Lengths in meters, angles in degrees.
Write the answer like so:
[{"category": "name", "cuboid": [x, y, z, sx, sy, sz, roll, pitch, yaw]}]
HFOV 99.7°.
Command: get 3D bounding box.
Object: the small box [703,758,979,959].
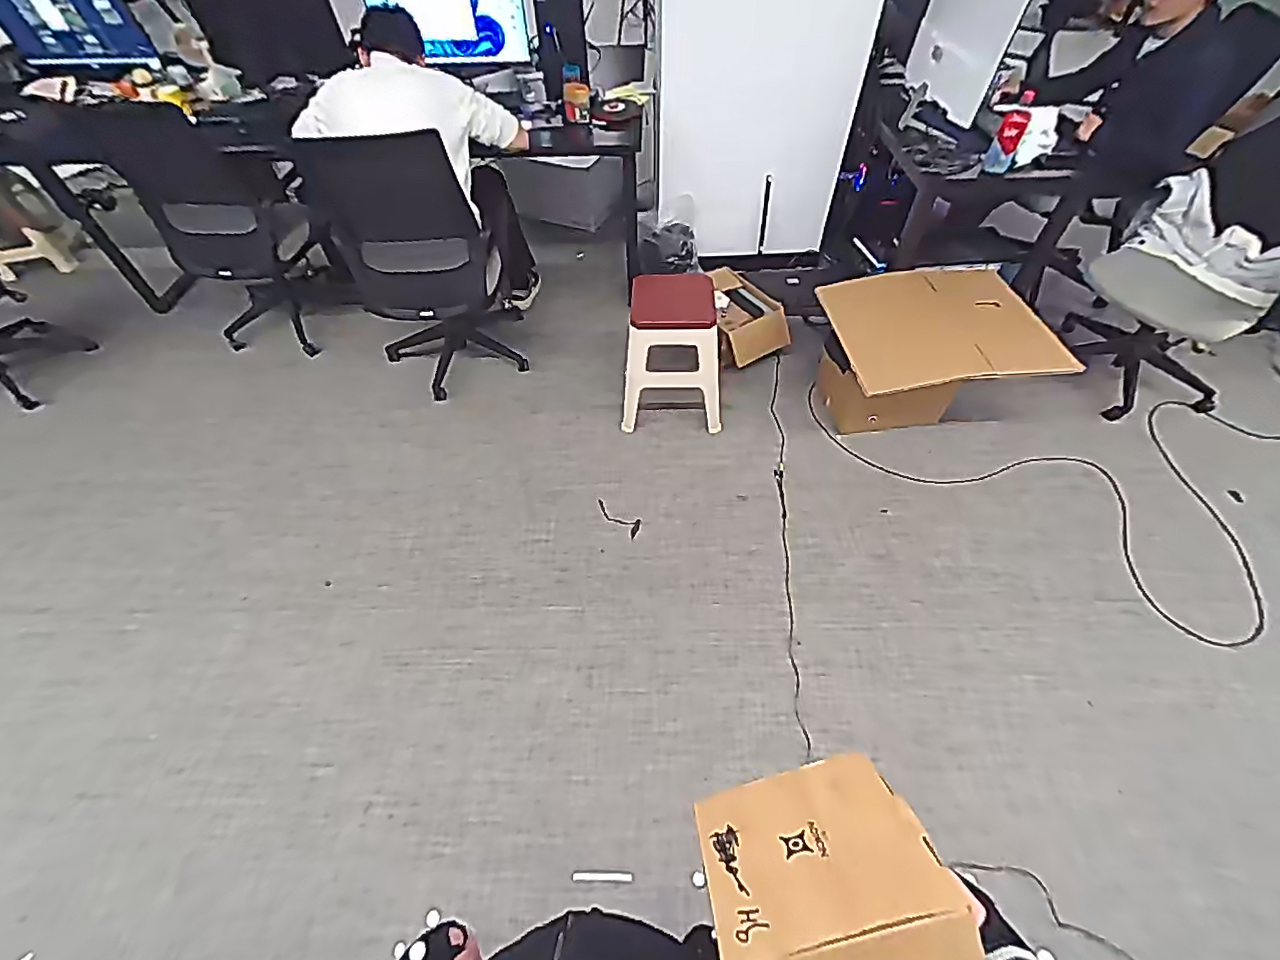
[{"category": "small box", "cuboid": [0.168, 0.386, 0.467, 0.179, 0.168, 0.176, -16, 97, 1]}]
